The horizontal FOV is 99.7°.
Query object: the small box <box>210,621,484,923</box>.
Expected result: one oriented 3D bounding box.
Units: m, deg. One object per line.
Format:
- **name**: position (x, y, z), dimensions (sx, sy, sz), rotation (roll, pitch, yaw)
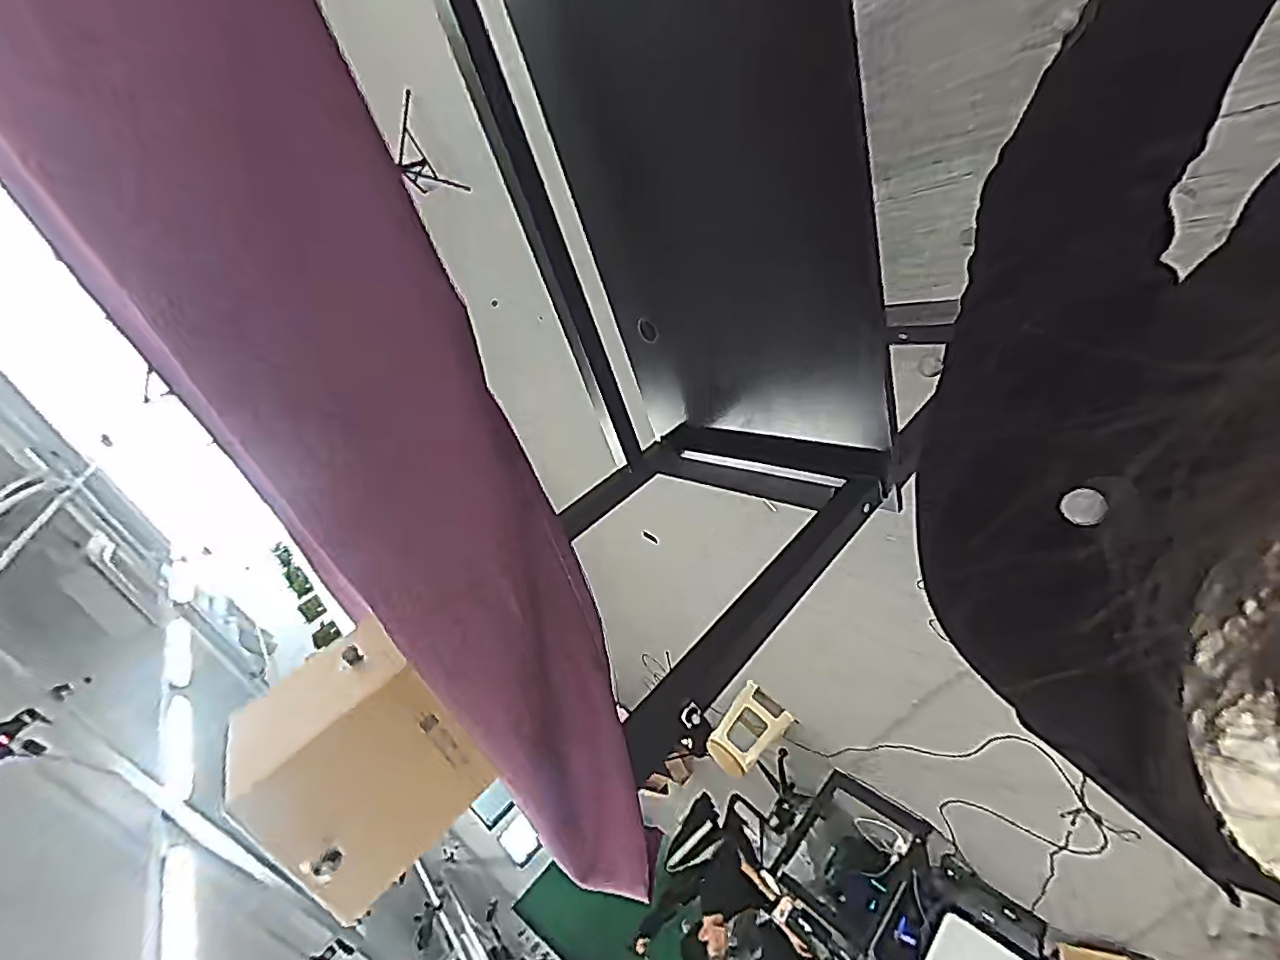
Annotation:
- **small box**: position (-0.286, 0.269, 0.546), dimensions (0.179, 0.176, 0.168), rotation (6, 128, 54)
